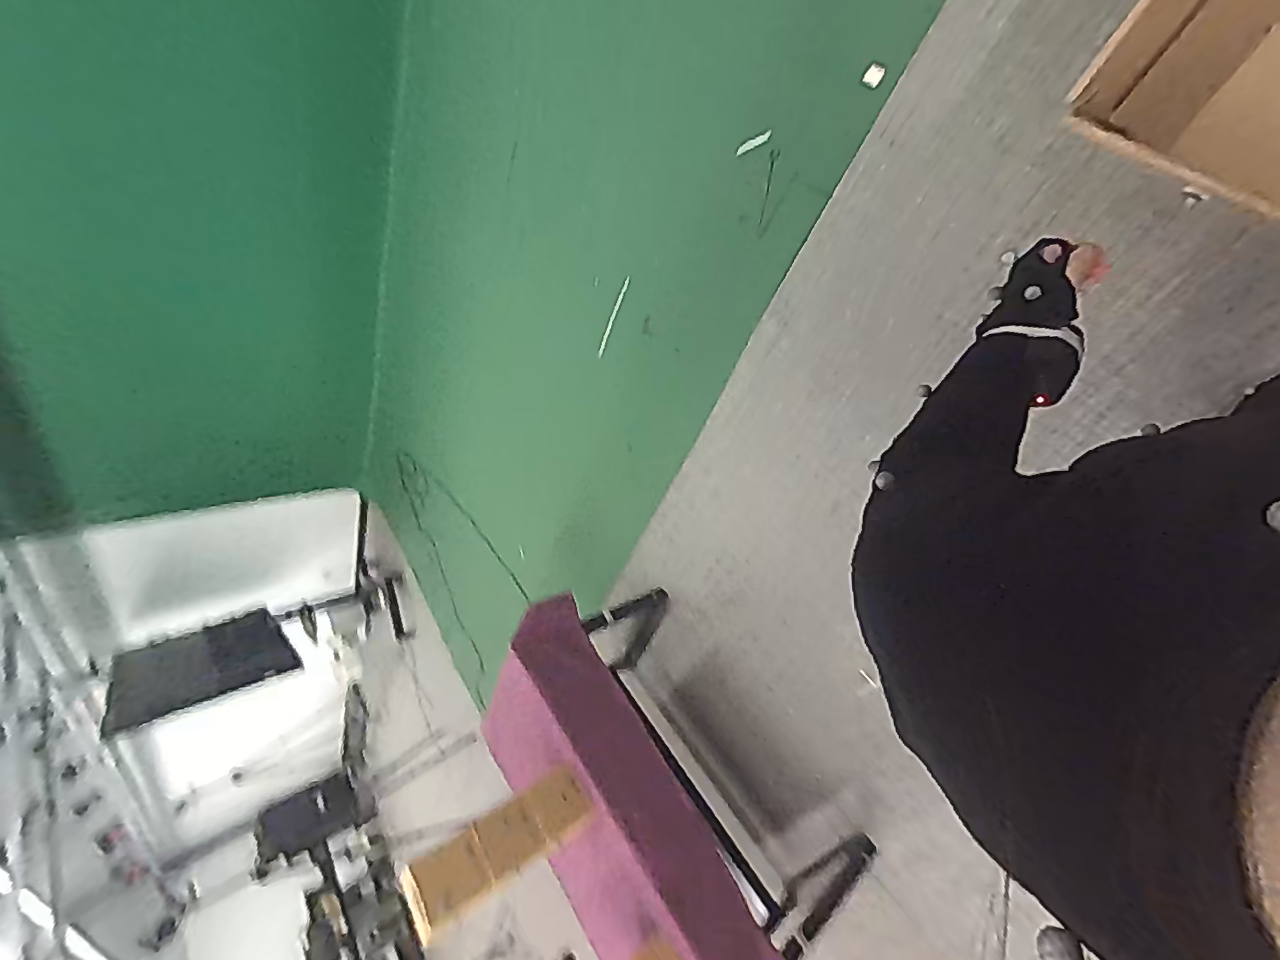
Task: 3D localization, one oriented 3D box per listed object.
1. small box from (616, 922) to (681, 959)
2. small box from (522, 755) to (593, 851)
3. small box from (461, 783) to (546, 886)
[{"bbox_3d":[0.020,1.313,1.407,0.179,0.176,0.168,48,132,32],"label":"small box"},{"bbox_3d":[-0.265,0.980,1.652,0.168,0.176,0.179,50,133,29],"label":"small box"},{"bbox_3d":[-0.389,1.009,1.550,0.168,0.176,0.179,52,134,28],"label":"small box"}]
